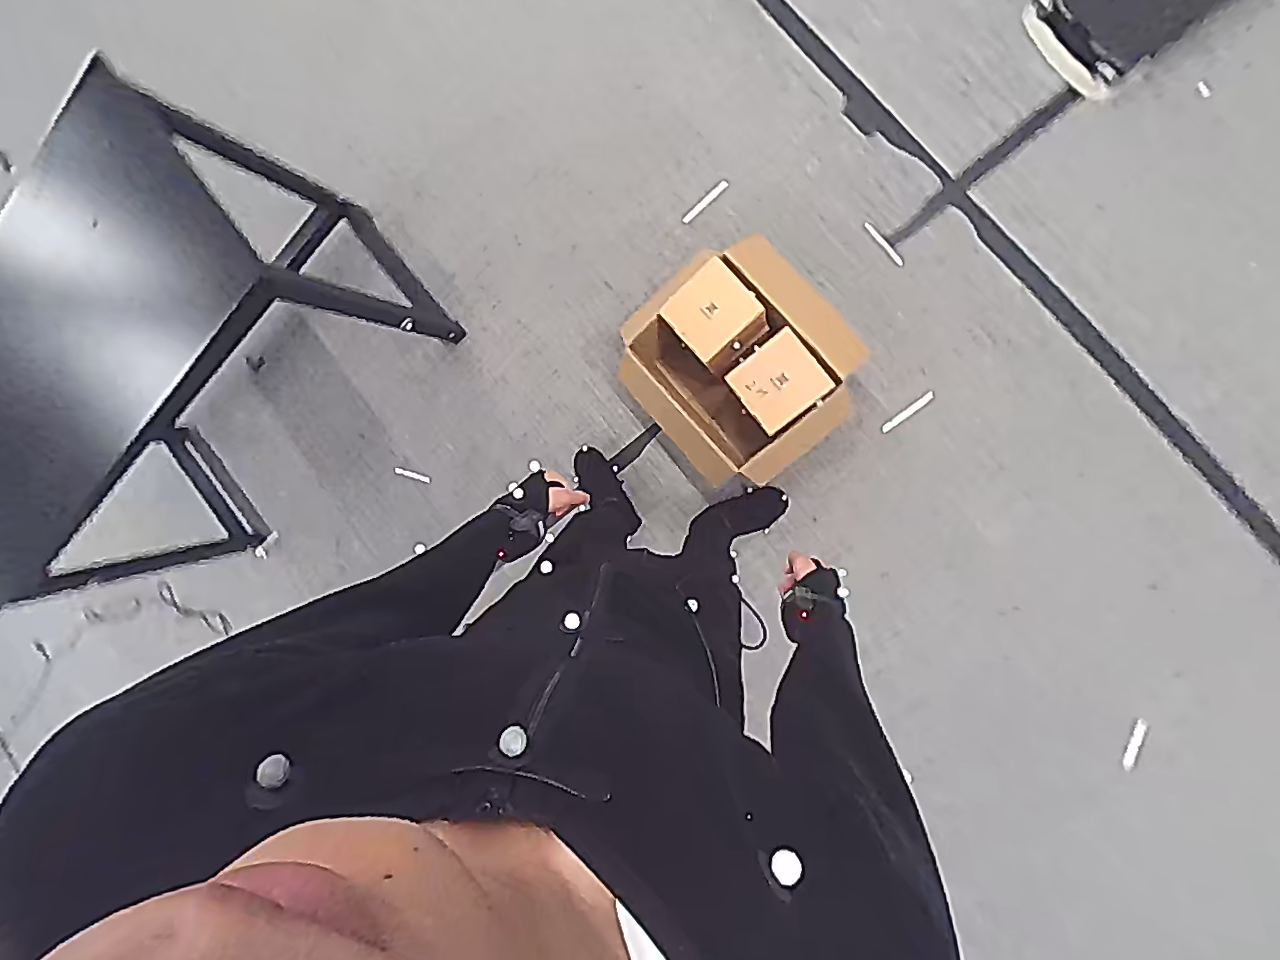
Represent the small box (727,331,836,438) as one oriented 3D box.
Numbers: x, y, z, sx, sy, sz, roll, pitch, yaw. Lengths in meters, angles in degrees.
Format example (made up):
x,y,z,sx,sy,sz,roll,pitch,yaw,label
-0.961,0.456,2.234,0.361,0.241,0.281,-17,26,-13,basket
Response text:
x,y,z,sx,sy,sz,roll,pitch,yaw,label
0.321,-0.213,1.244,0.179,0.176,0.168,-37,85,15,small box
